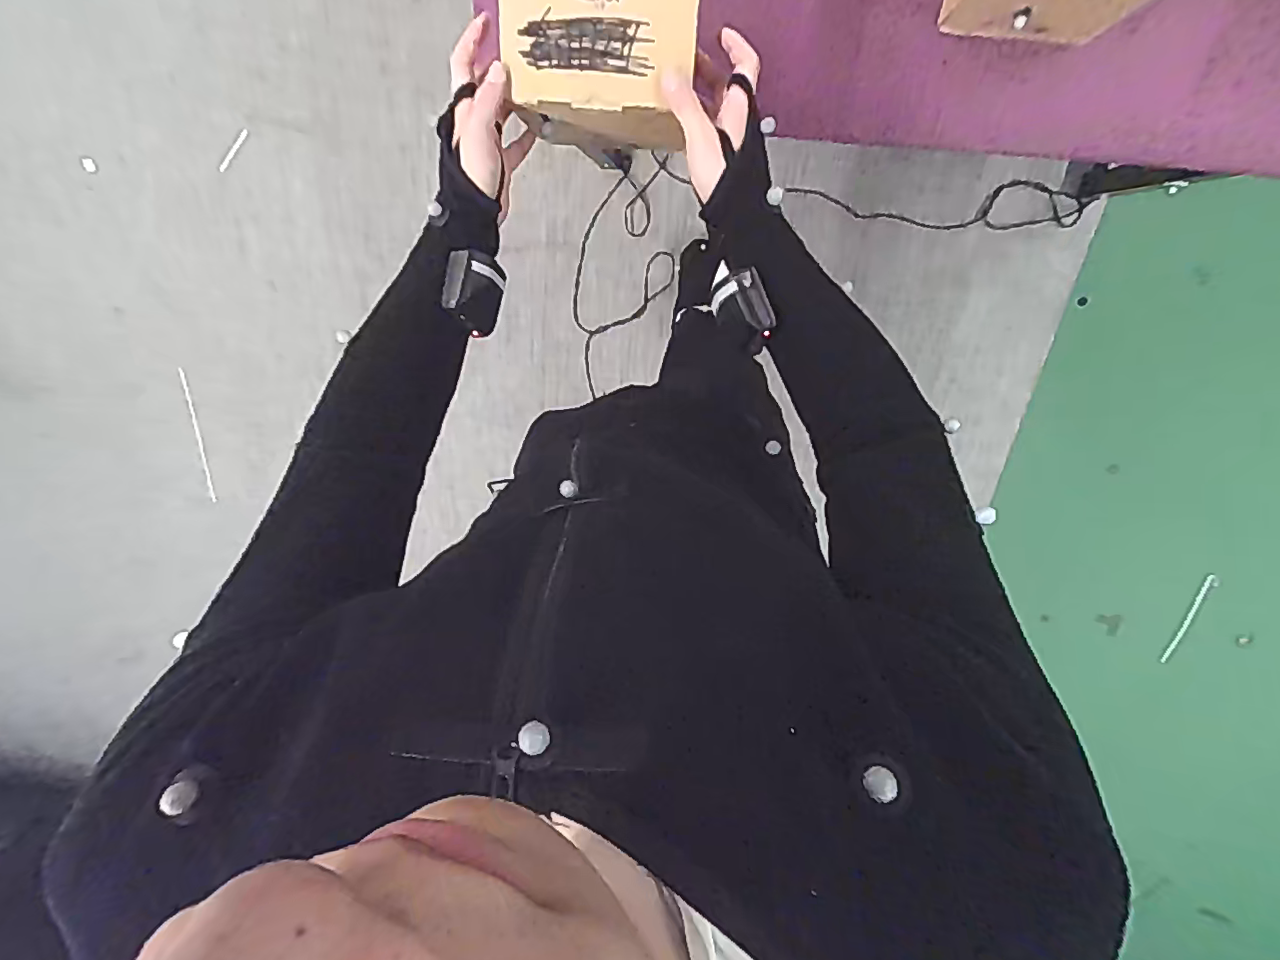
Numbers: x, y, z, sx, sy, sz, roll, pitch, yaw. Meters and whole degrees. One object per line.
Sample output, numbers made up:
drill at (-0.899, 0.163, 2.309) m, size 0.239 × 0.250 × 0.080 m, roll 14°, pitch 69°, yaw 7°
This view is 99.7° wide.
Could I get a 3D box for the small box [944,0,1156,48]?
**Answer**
small box at (0.423, -0.556, 0.514) m, size 0.168 × 0.176 × 0.179 m, roll 8°, pitch 112°, yaw 4°
